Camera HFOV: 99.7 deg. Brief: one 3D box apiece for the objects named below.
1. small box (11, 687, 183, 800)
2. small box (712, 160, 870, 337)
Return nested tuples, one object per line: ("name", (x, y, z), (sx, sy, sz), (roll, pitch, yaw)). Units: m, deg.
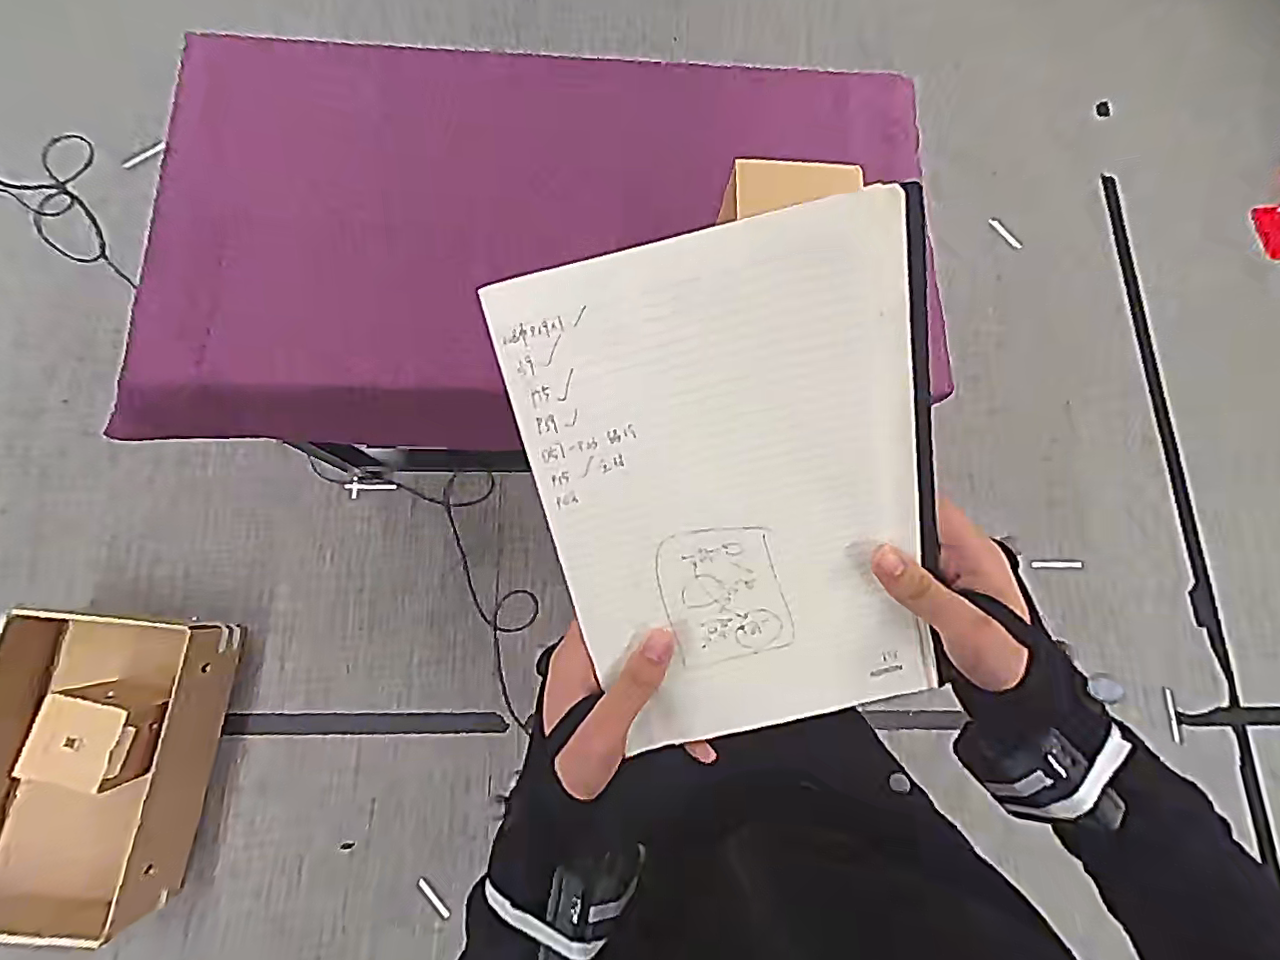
("small box", (-1.161, 0.562, 1.177), (0.179, 0.176, 0.168), (14, 77, -1))
("small box", (0.201, -0.318, 0.771), (0.179, 0.176, 0.168), (2, 77, -4))
